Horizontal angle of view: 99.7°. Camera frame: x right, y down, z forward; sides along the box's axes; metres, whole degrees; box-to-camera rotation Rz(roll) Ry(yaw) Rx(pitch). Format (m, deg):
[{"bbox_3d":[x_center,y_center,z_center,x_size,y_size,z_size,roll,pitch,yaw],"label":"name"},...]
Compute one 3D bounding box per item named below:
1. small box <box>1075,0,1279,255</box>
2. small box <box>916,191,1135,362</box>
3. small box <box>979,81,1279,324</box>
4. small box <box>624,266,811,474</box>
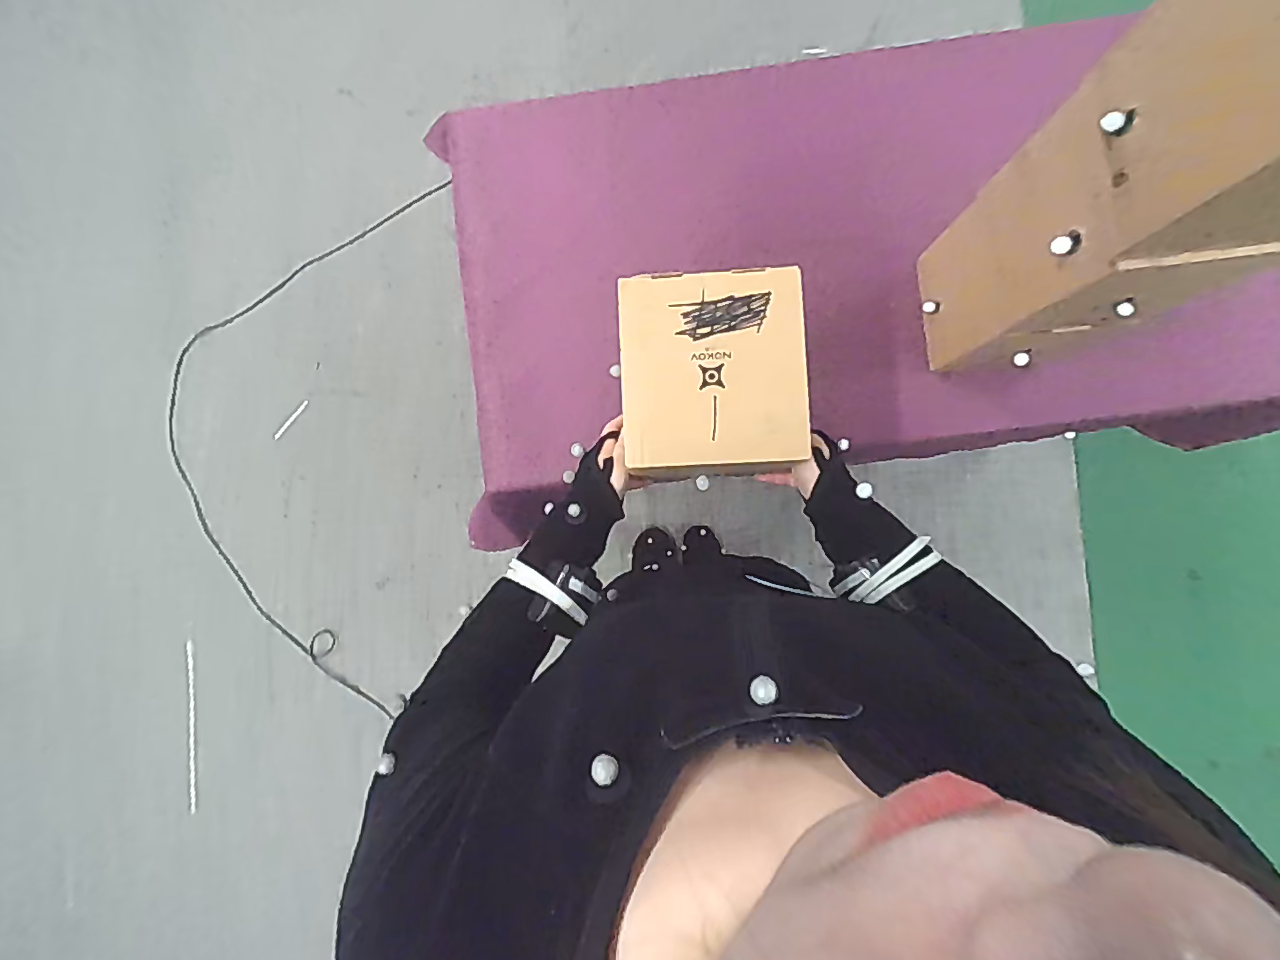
[{"bbox_3d":[0.472,-0.285,0.389,0.179,0.176,0.168,-6,85,3],"label":"small box"},{"bbox_3d":[0.492,-0.261,0.716,0.168,0.176,0.179,-5,87,1],"label":"small box"},{"bbox_3d":[0.483,-0.270,0.551,0.168,0.176,0.179,-6,86,1],"label":"small box"},{"bbox_3d":[0.071,-0.099,0.559,0.168,0.176,0.179,-2,88,3],"label":"small box"}]
